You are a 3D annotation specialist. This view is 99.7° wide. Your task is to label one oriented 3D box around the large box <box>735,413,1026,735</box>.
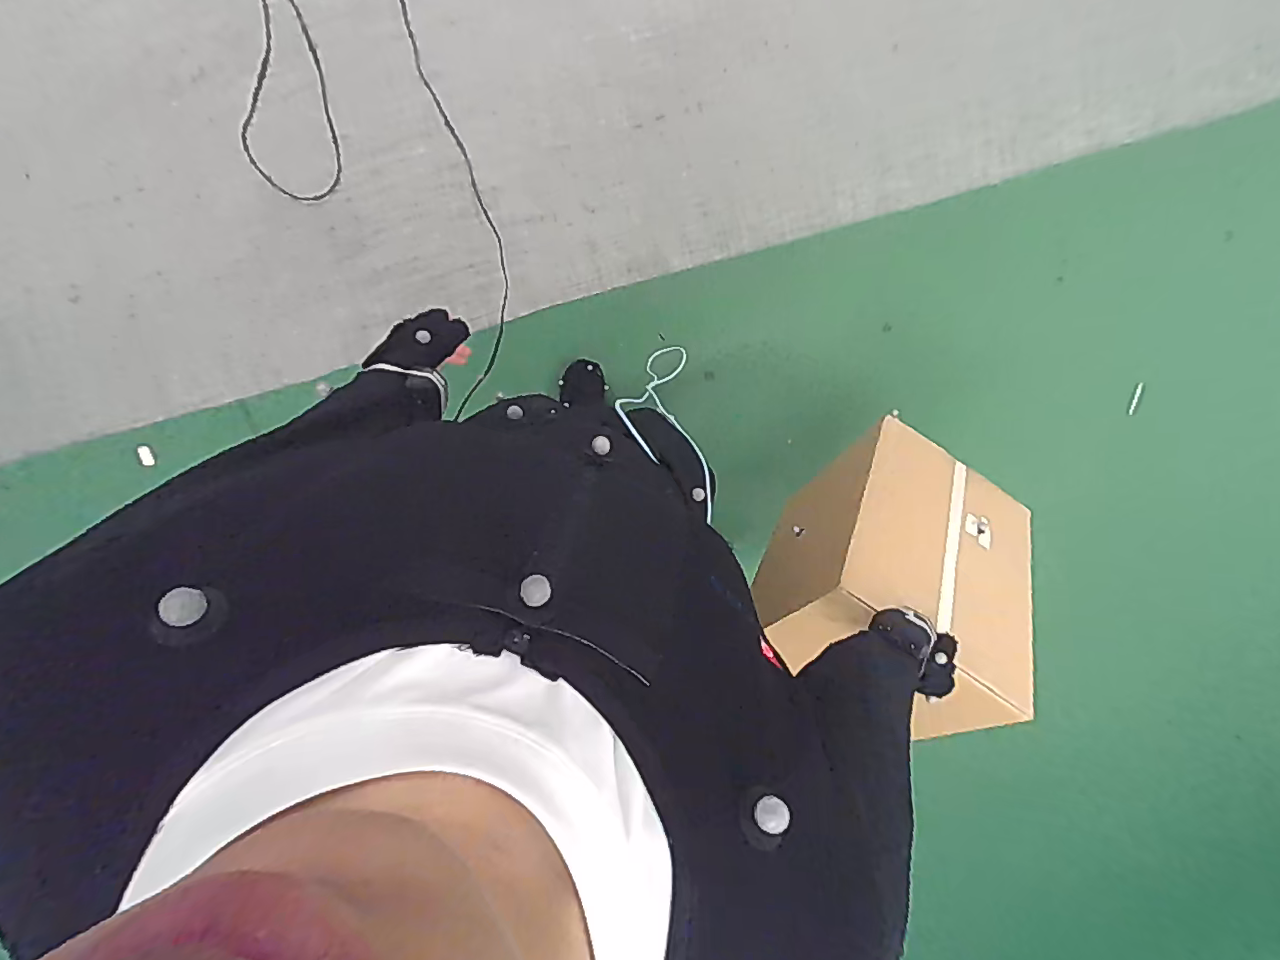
[{"bbox_3d":[0.420,0.168,0.965,0.320,0.408,0.320,34,140,-1],"label":"large box"}]
